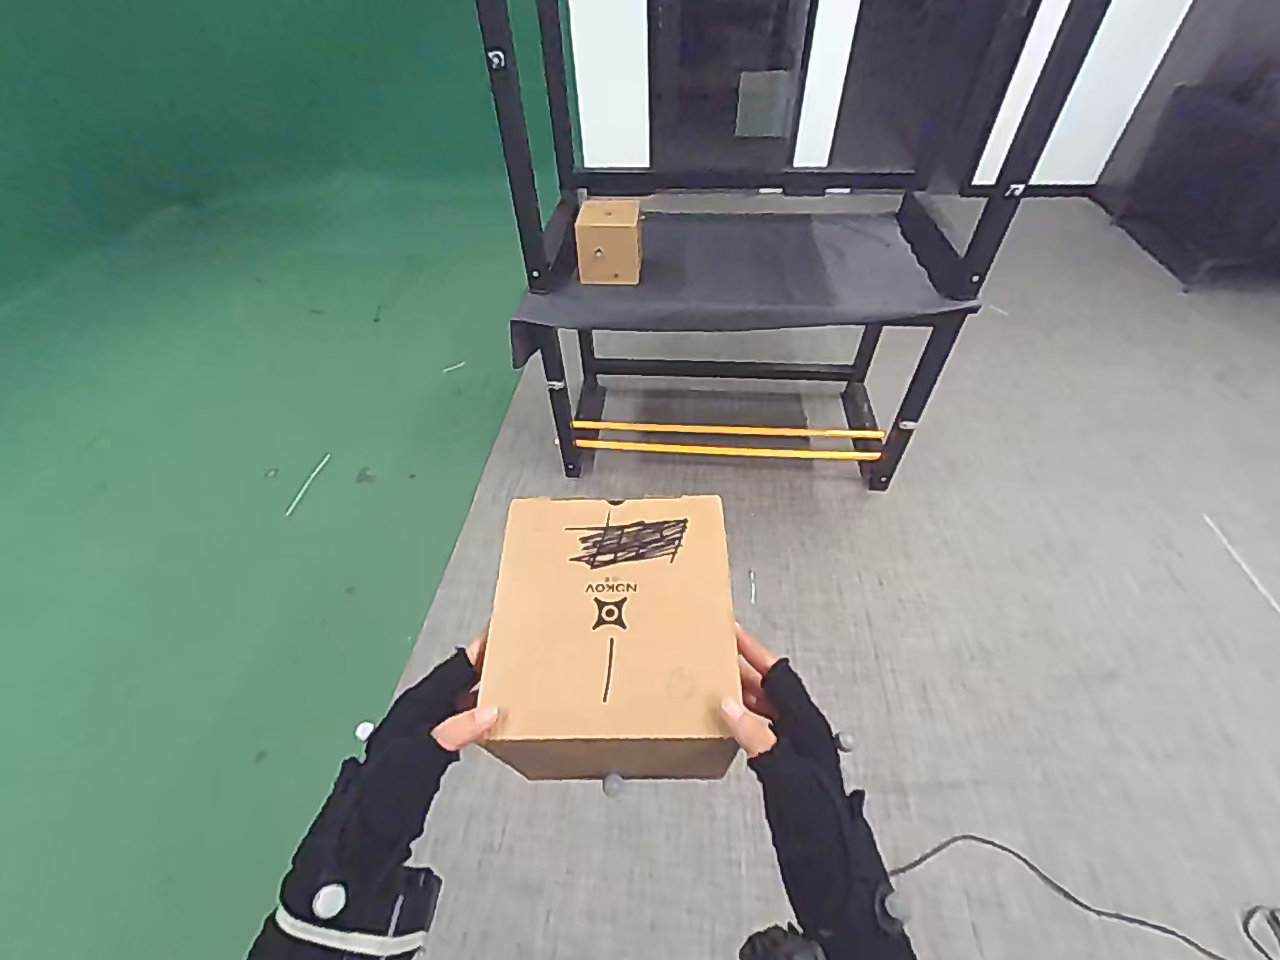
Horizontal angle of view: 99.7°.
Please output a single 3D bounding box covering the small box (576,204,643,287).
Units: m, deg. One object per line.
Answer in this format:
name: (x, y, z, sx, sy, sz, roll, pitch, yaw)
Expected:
small box: (-0.080, -0.661, 1.533, 0.168, 0.176, 0.179, 2, 46, 3)
